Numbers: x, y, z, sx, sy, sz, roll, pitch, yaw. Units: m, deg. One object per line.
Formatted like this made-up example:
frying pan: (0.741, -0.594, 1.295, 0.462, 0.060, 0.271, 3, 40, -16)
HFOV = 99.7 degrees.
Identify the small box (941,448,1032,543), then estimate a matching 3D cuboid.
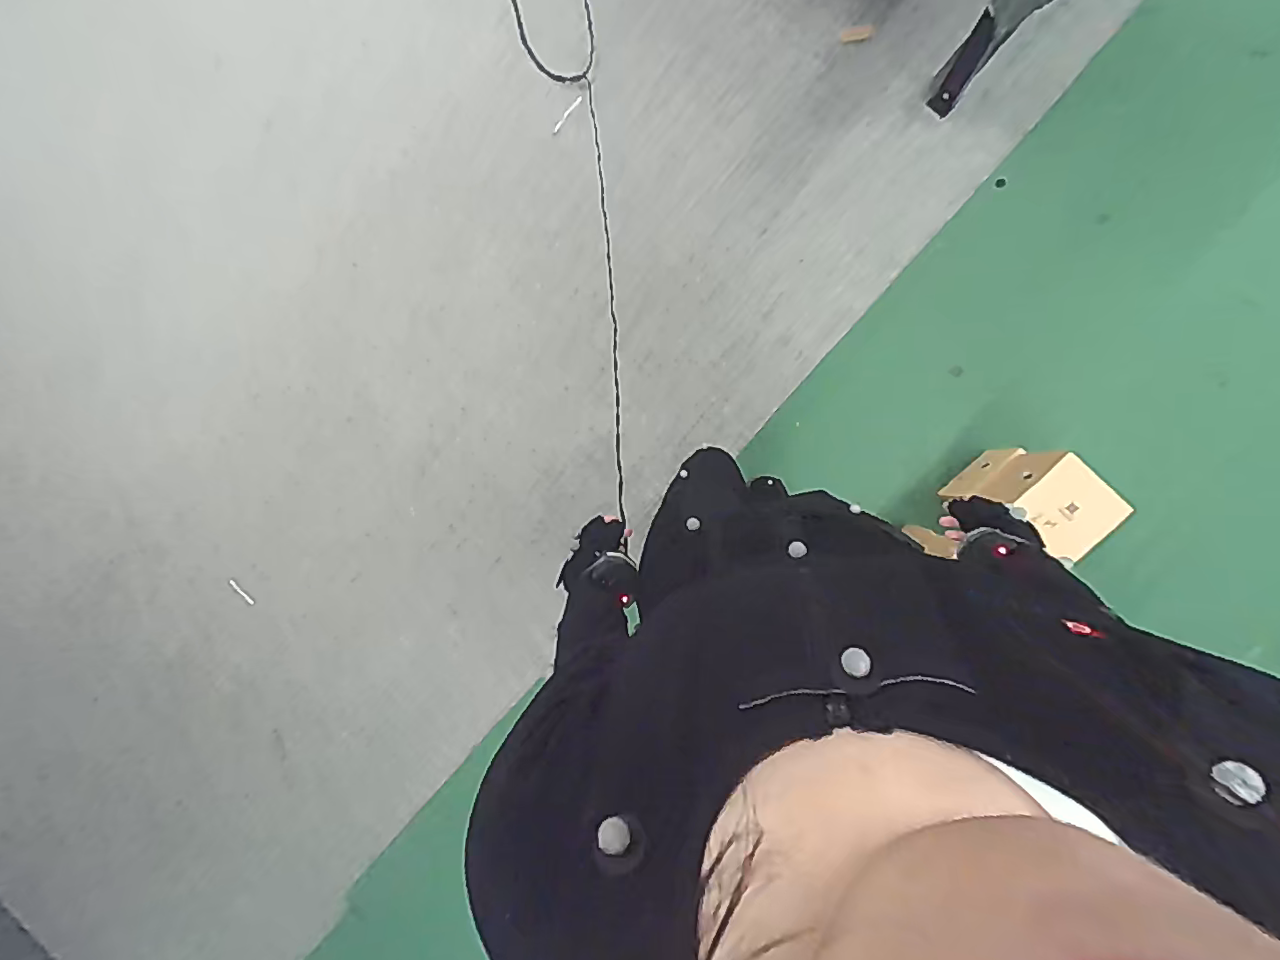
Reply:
small box: (0.873, 0.044, 1.301, 0.168, 0.176, 0.179, -44, 85, 6)

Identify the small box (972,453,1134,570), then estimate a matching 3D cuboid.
small box: (0.852, 0.060, 1.139, 0.179, 0.176, 0.168, -45, 85, 6)
